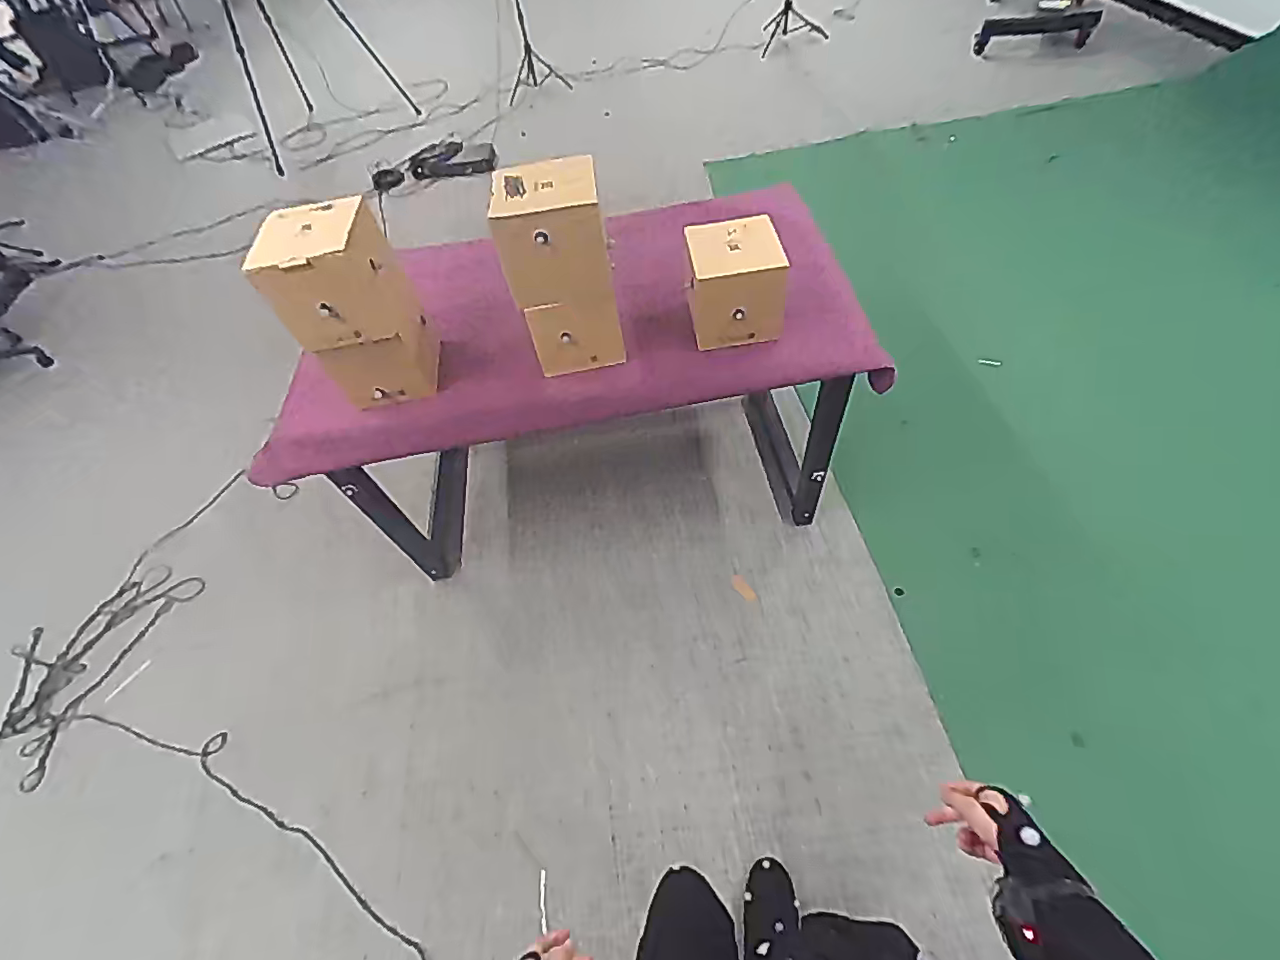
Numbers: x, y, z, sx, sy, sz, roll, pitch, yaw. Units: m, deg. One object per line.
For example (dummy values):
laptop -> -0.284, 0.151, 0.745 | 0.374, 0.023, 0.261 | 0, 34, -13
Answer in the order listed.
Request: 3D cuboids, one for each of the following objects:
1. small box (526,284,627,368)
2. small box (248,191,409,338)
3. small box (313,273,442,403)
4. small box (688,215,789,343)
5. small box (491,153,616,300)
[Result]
small box -> -0.124, -0.339, 1.073 | 0.168, 0.176, 0.179 | -11, 53, 0
small box -> -0.523, -0.364, 0.939 | 0.168, 0.176, 0.179 | -9, 55, 1
small box -> -0.509, -0.280, 1.079 | 0.168, 0.176, 0.179 | -10, 55, 0
small box -> 0.188, -0.387, 1.063 | 0.168, 0.176, 0.179 | -7, 54, 3
small box -> -0.143, -0.433, 0.939 | 0.179, 0.176, 0.168 | -8, 54, 1
